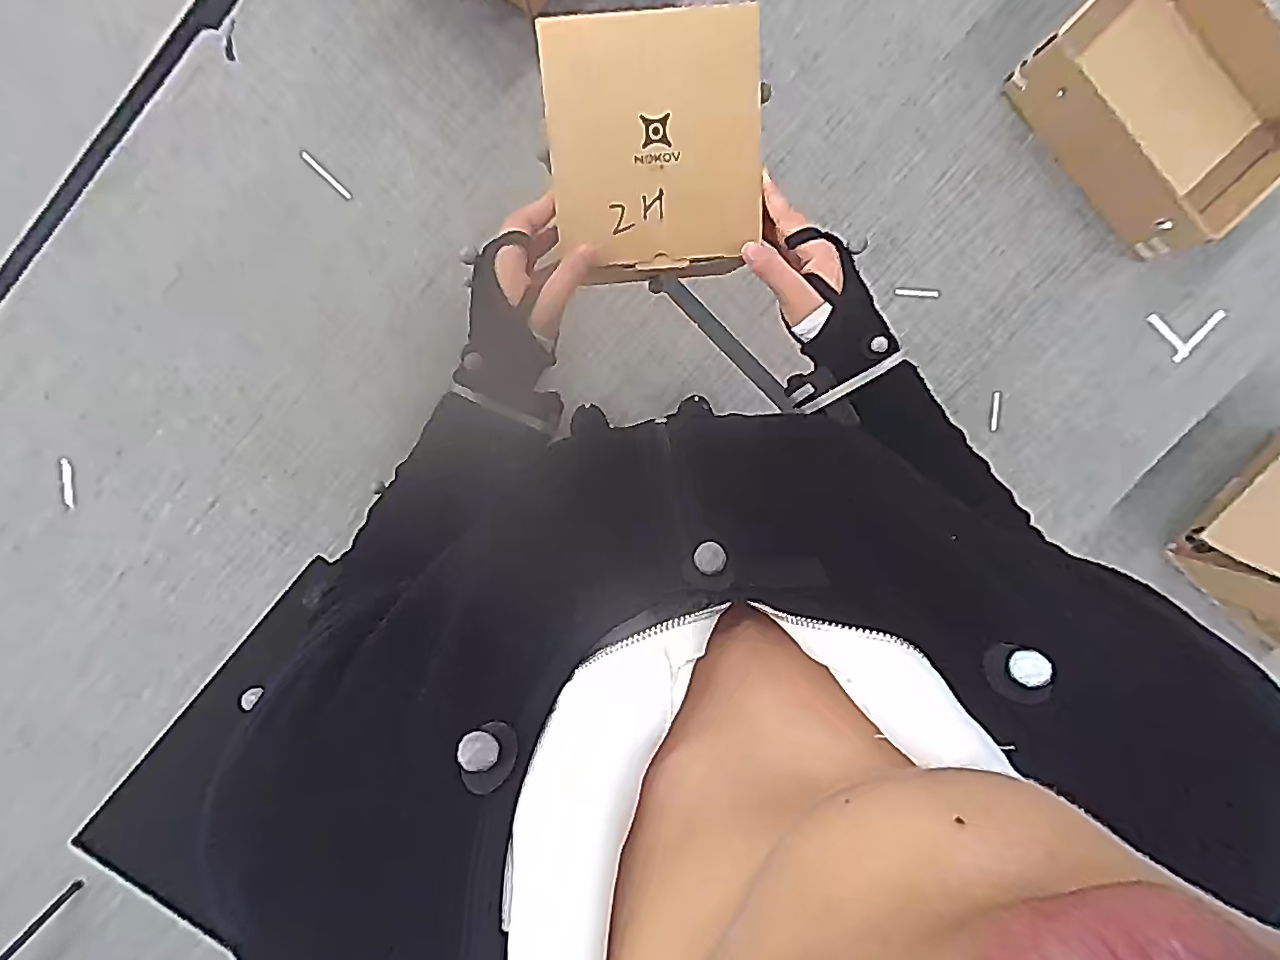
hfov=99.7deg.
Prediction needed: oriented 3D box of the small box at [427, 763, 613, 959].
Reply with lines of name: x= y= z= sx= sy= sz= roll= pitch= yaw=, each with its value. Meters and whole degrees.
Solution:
small box: x=-0.151 y=0.543 z=0.754 sx=0.179 sy=0.176 sz=0.168 roll=41 pitch=95 yaw=-6

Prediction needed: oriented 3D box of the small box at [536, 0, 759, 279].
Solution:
small box: x=0.007 y=-0.287 z=0.490 sx=0.168 sy=0.176 sz=0.179 roll=-4 pitch=106 yaw=0
